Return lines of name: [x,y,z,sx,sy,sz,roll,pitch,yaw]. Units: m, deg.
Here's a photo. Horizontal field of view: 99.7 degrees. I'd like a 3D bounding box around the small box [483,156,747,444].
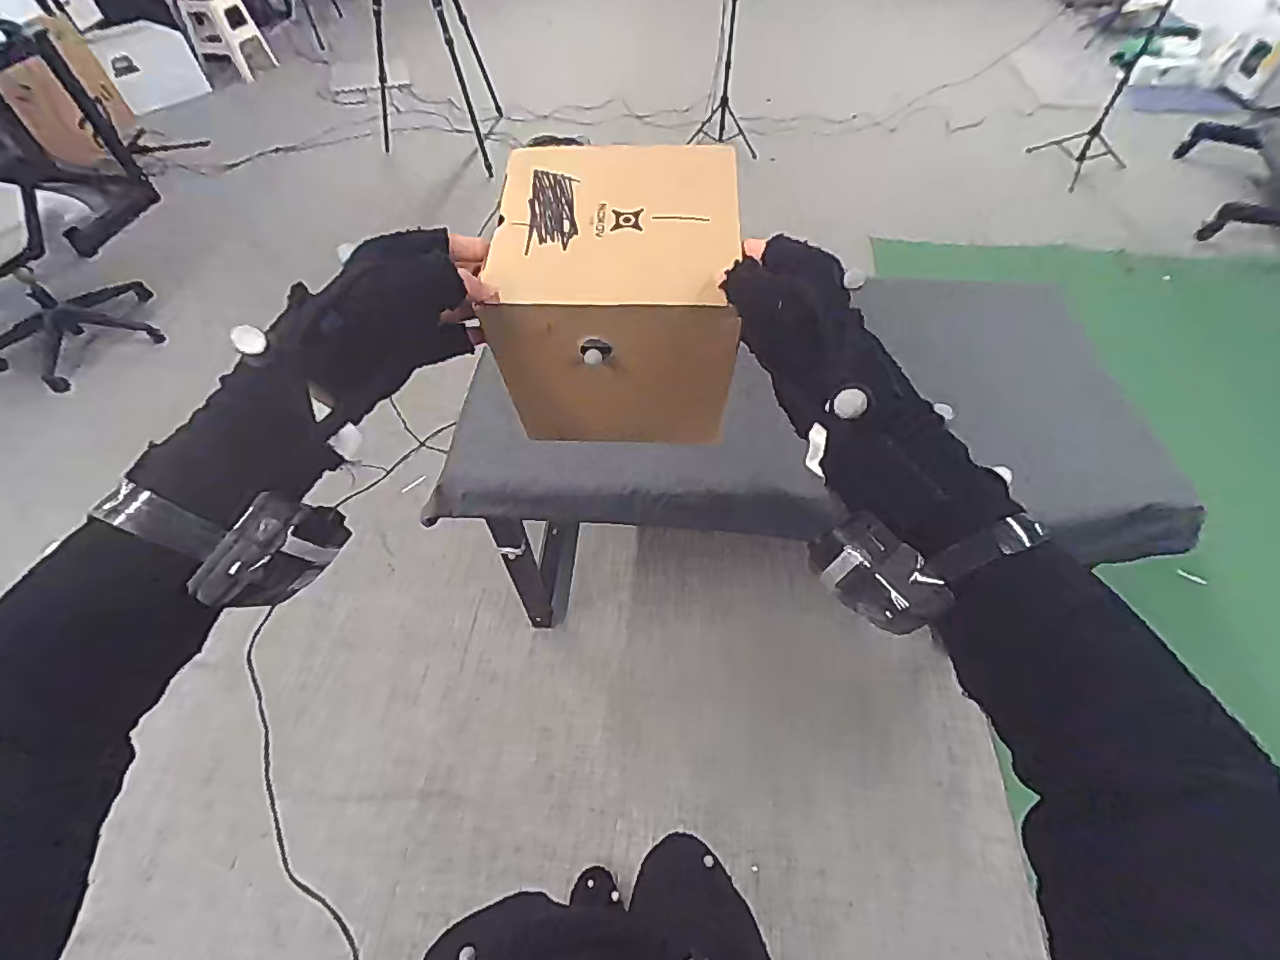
small box: [-0.010,-0.142,0.457,0.179,0.176,0.168,2,63,3]
